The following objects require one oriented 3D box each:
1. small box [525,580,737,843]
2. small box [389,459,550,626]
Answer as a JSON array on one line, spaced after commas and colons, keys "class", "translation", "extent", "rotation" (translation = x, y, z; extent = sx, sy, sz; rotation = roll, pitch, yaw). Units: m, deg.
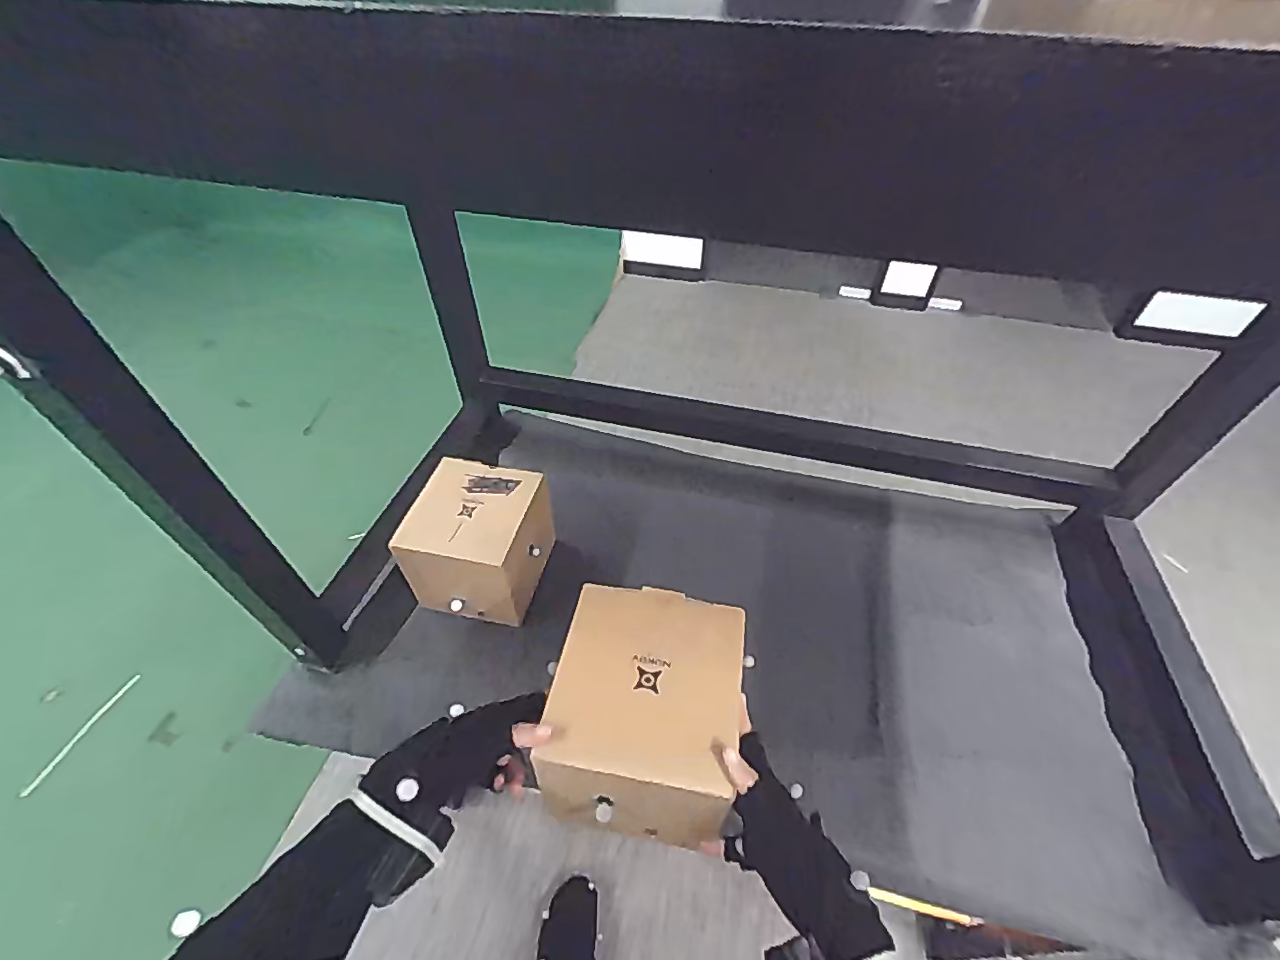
[{"class": "small box", "translation": [0.001, 0.228, 0.535], "extent": [0.168, 0.176, 0.179], "rotation": [7, 42, 7]}, {"class": "small box", "translation": [-0.245, 0.096, 0.831], "extent": [0.168, 0.176, 0.179], "rotation": [9, 48, 8]}]
